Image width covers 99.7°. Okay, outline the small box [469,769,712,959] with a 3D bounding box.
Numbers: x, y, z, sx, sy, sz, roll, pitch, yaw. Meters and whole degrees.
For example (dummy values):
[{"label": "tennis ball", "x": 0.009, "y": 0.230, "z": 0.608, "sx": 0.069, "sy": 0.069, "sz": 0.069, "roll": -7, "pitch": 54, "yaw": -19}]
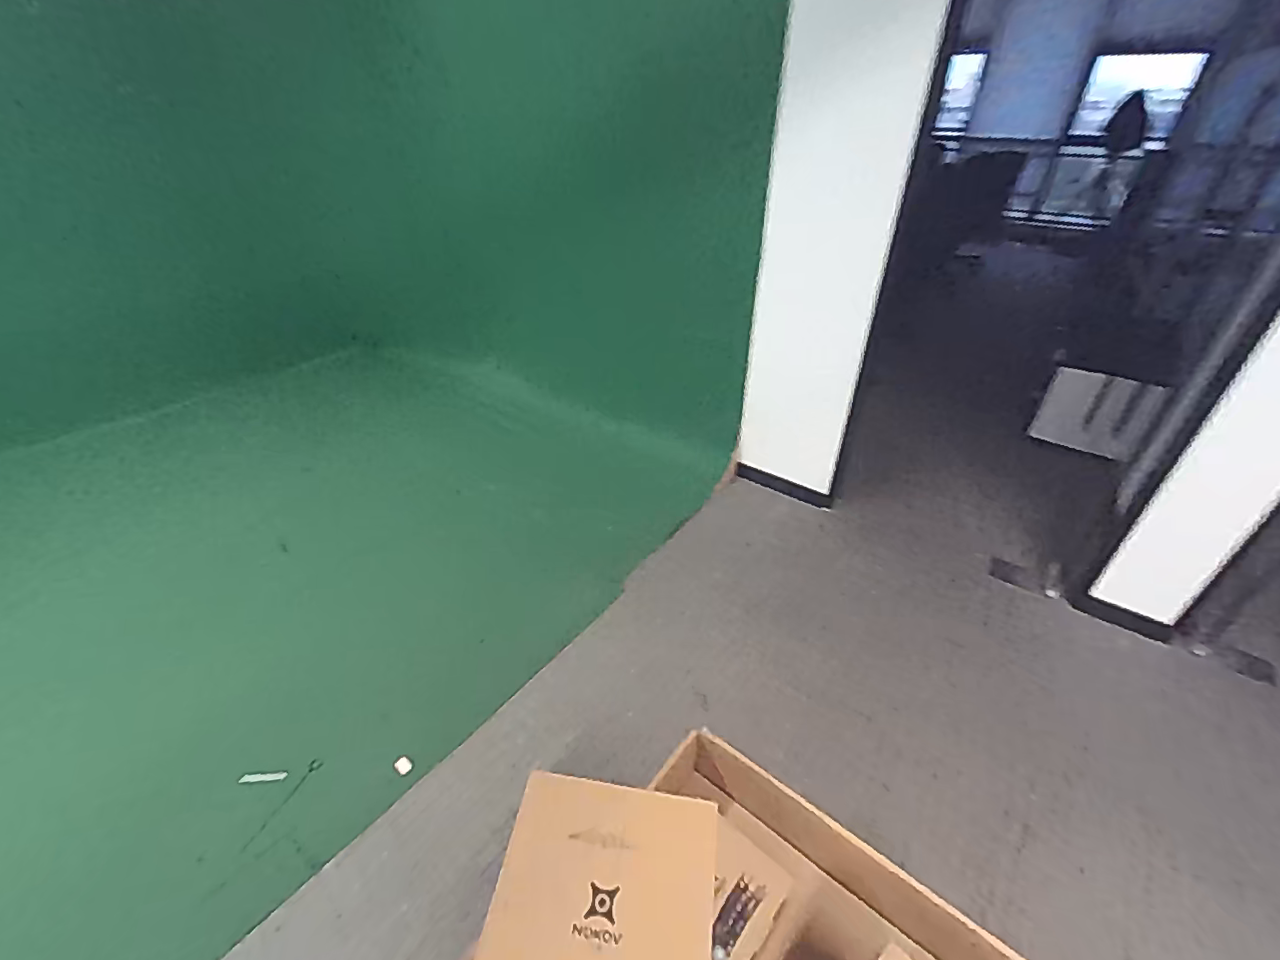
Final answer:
[{"label": "small box", "x": -0.032, "y": 0.379, "z": 0.454, "sx": 0.168, "sy": 0.176, "sz": 0.179, "roll": 6, "pitch": 40, "yaw": 7}]
